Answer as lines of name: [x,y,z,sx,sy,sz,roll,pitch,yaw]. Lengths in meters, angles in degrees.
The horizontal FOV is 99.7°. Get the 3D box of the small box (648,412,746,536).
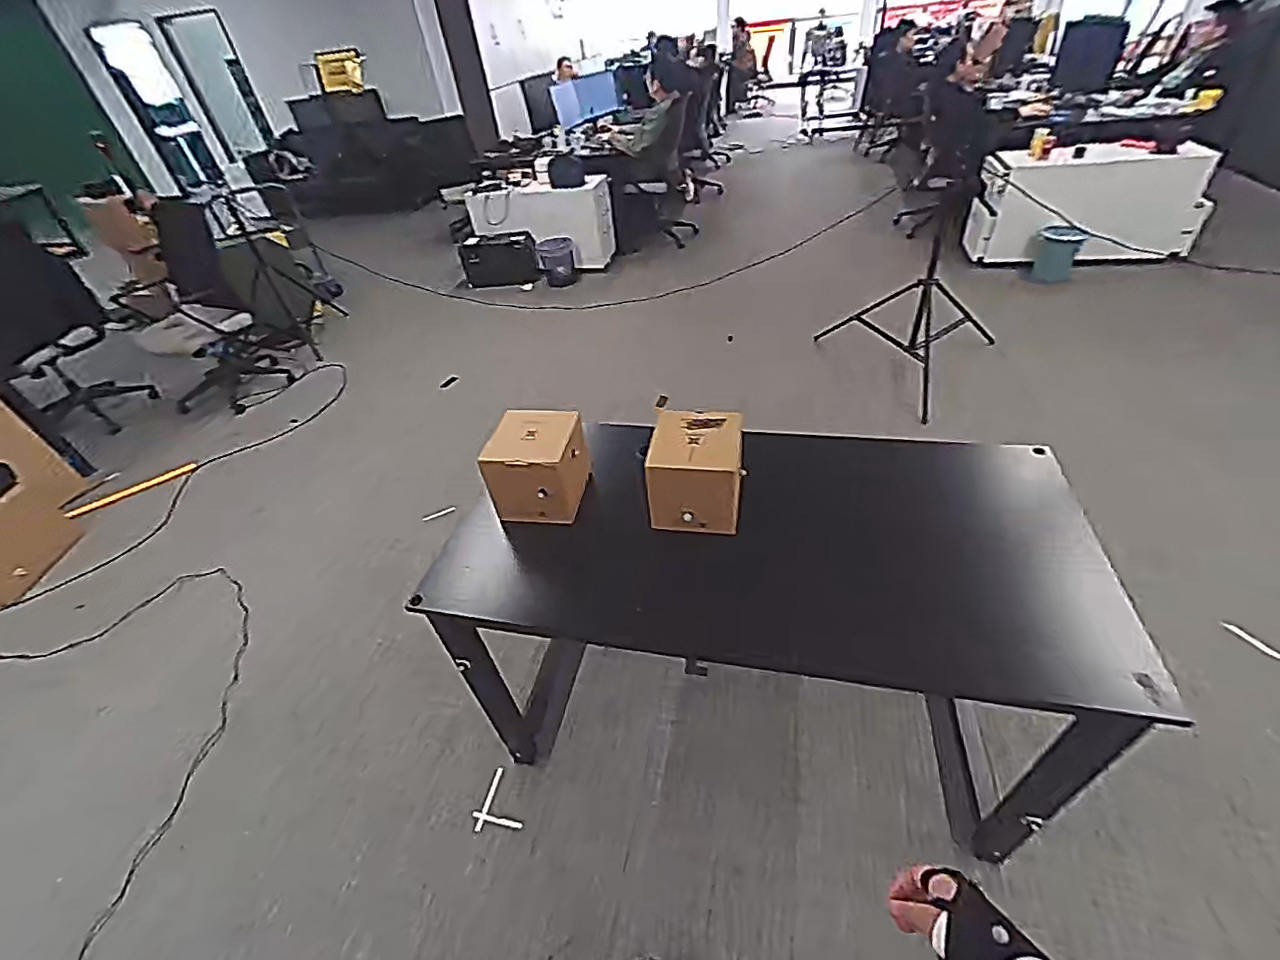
small box: [0.117,-0.015,1.070,0.168,0.176,0.179,4,43,13]

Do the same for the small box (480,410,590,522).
small box: [-0.209,-0.028,1.135,0.168,0.176,0.179,3,41,10]
